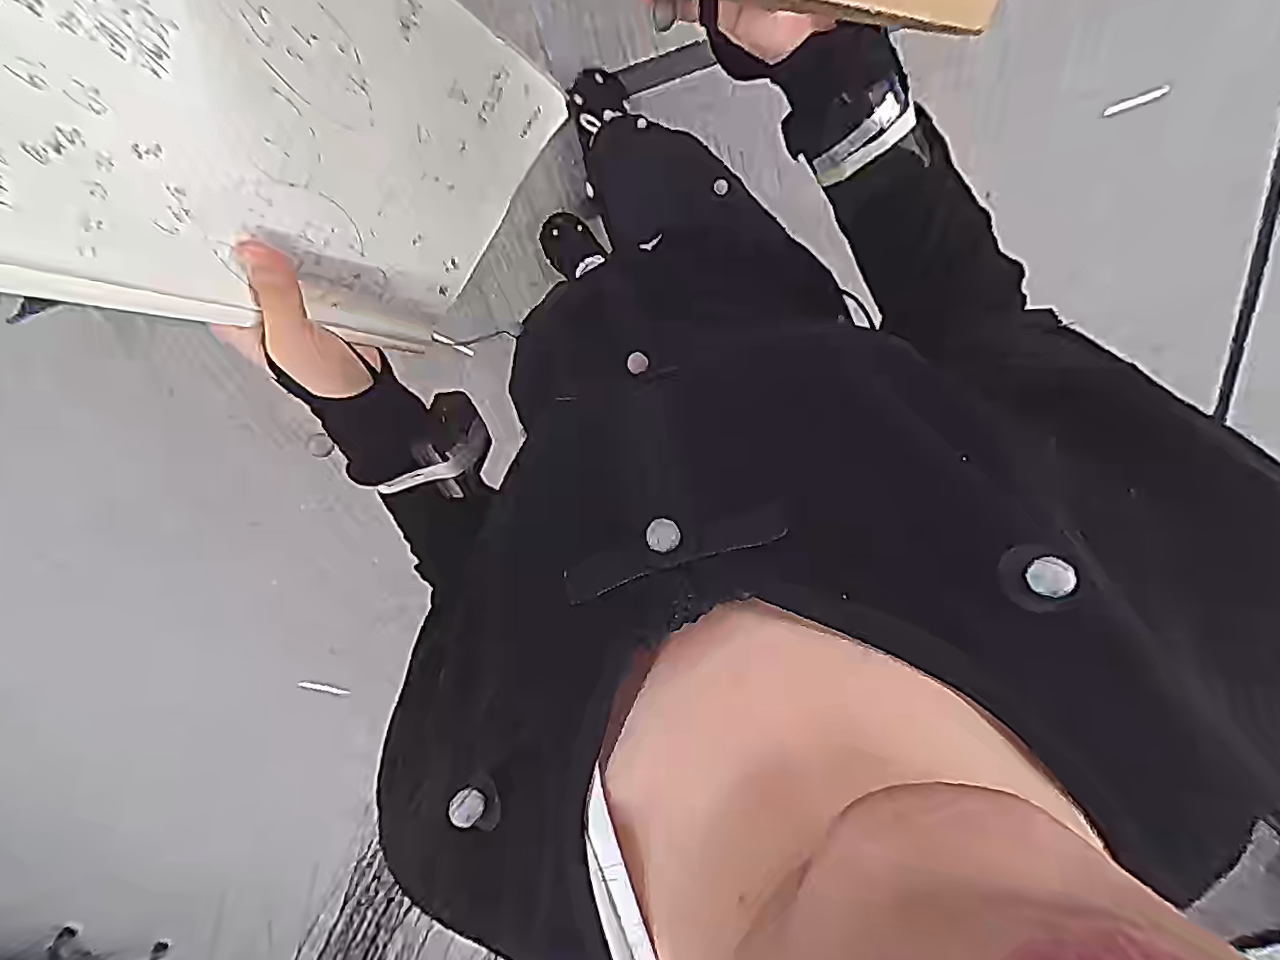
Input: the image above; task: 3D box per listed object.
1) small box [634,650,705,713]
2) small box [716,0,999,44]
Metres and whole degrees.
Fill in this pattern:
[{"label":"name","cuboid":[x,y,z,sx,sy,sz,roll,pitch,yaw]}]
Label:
[{"label":"small box","cuboid":[0.084,0.598,1.506,0.168,0.176,0.179,-15,120,0]},{"label":"small box","cuboid":[0.031,-0.261,0.160,0.168,0.176,0.179,-2,132,-15]}]
